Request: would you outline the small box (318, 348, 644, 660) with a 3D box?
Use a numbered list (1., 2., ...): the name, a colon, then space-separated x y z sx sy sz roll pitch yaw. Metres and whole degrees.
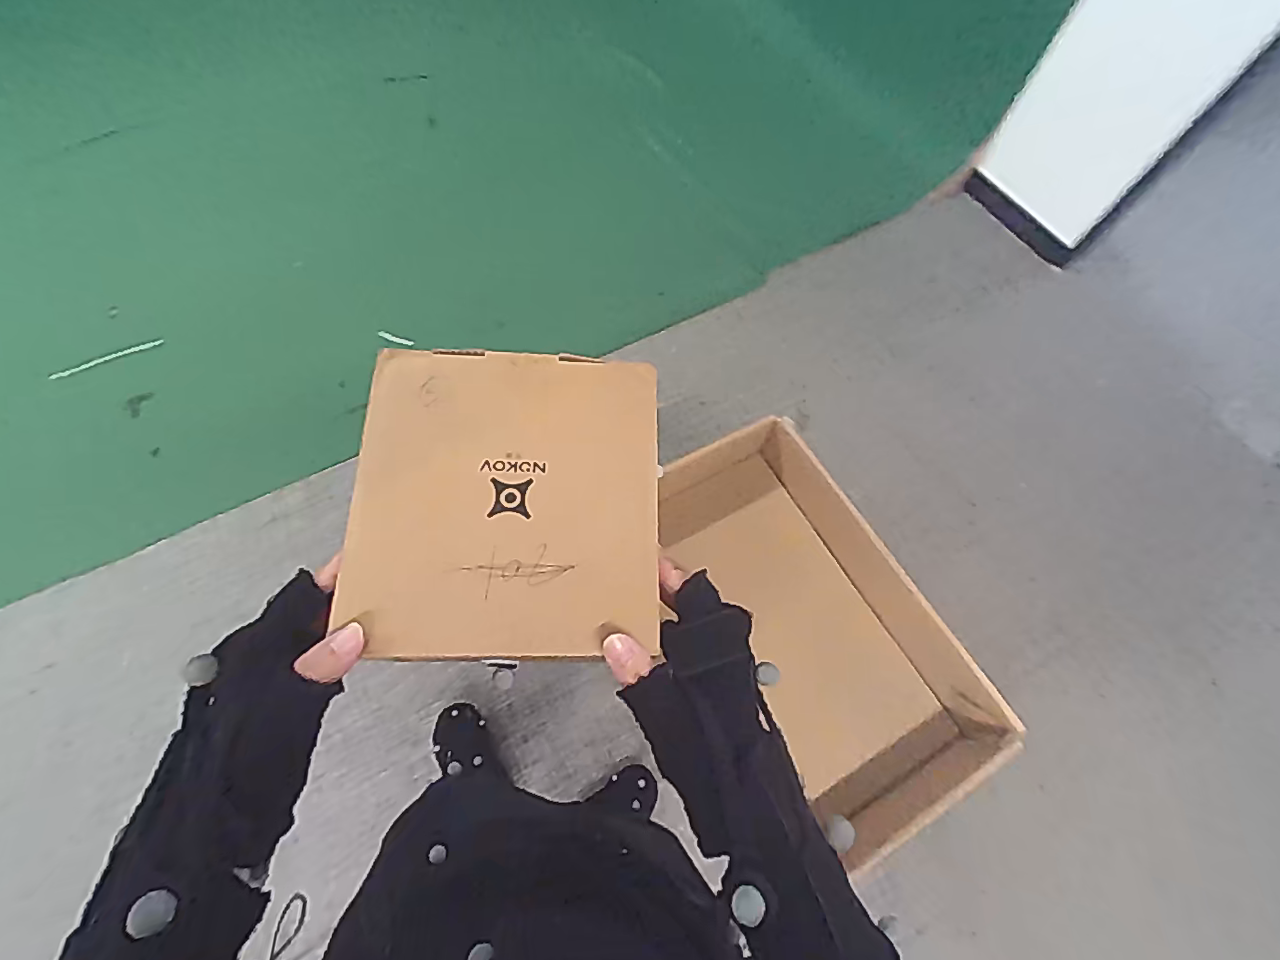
1. small box: -0.088 0.032 0.378 0.168 0.176 0.179 1 71 -6
